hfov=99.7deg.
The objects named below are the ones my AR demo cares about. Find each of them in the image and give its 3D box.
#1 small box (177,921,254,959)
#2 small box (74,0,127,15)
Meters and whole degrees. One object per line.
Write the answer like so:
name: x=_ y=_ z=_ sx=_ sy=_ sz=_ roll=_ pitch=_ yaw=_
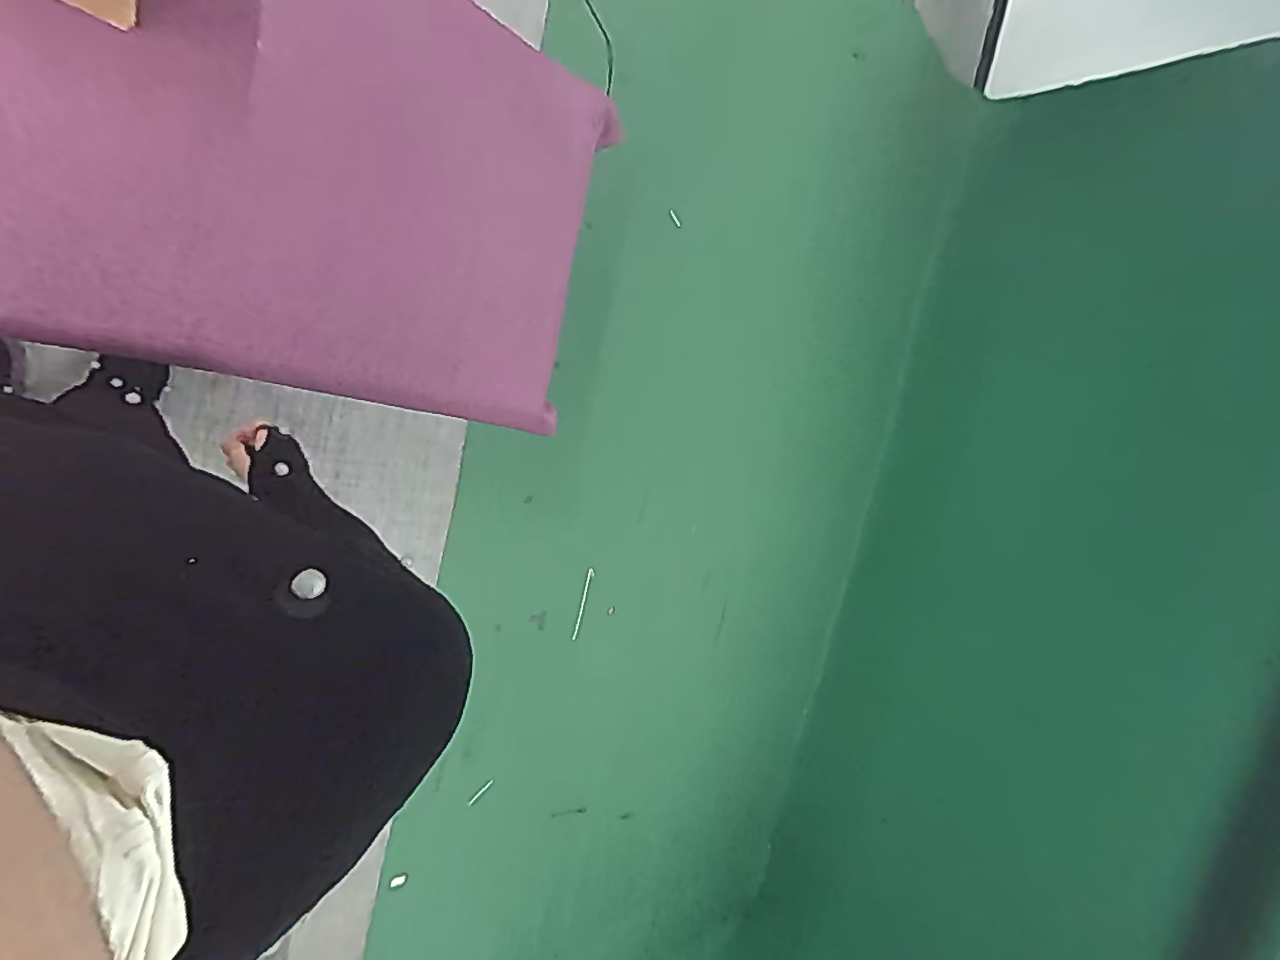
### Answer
small box: x=-1.218 y=1.429 z=1.542 sx=0.168 sy=0.176 sz=0.179 roll=9 pitch=99 yaw=-45
small box: x=-0.561 y=-0.581 z=0.480 sx=0.168 sy=0.176 sz=0.179 roll=5 pitch=101 yaw=-44
